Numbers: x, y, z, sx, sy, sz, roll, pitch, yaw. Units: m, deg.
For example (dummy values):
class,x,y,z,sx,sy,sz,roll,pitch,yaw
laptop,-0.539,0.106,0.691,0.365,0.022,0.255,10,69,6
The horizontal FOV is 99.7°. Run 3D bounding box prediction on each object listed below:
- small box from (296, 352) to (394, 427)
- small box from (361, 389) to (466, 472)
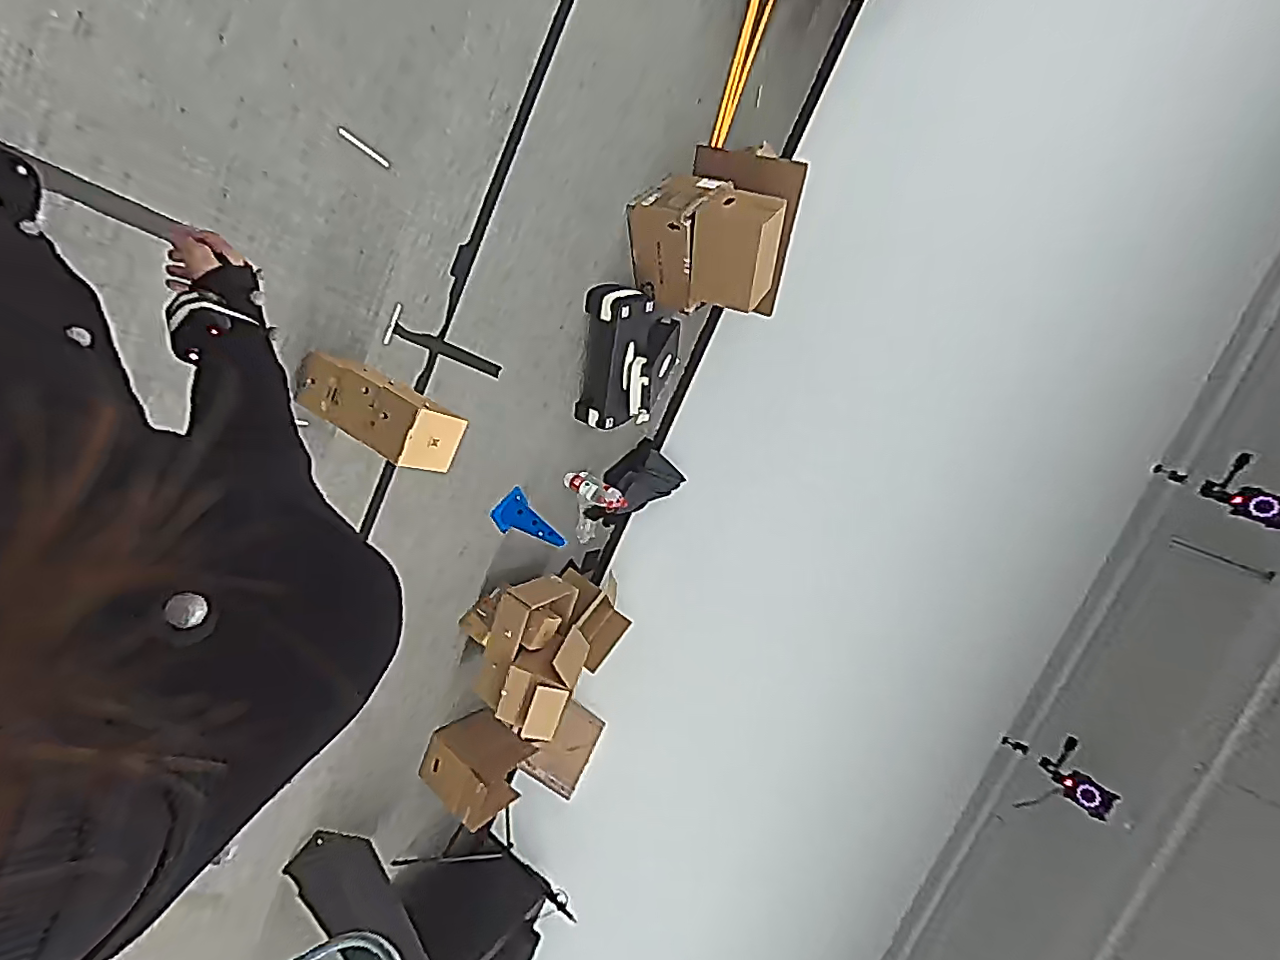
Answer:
class,x,y,z,sx,sy,sz,roll,pitch,yaw
small box,-0.897,-0.272,1.643,0.179,0.176,0.168,6,110,-62
small box,-0.630,-0.139,1.507,0.179,0.176,0.168,12,105,-64
